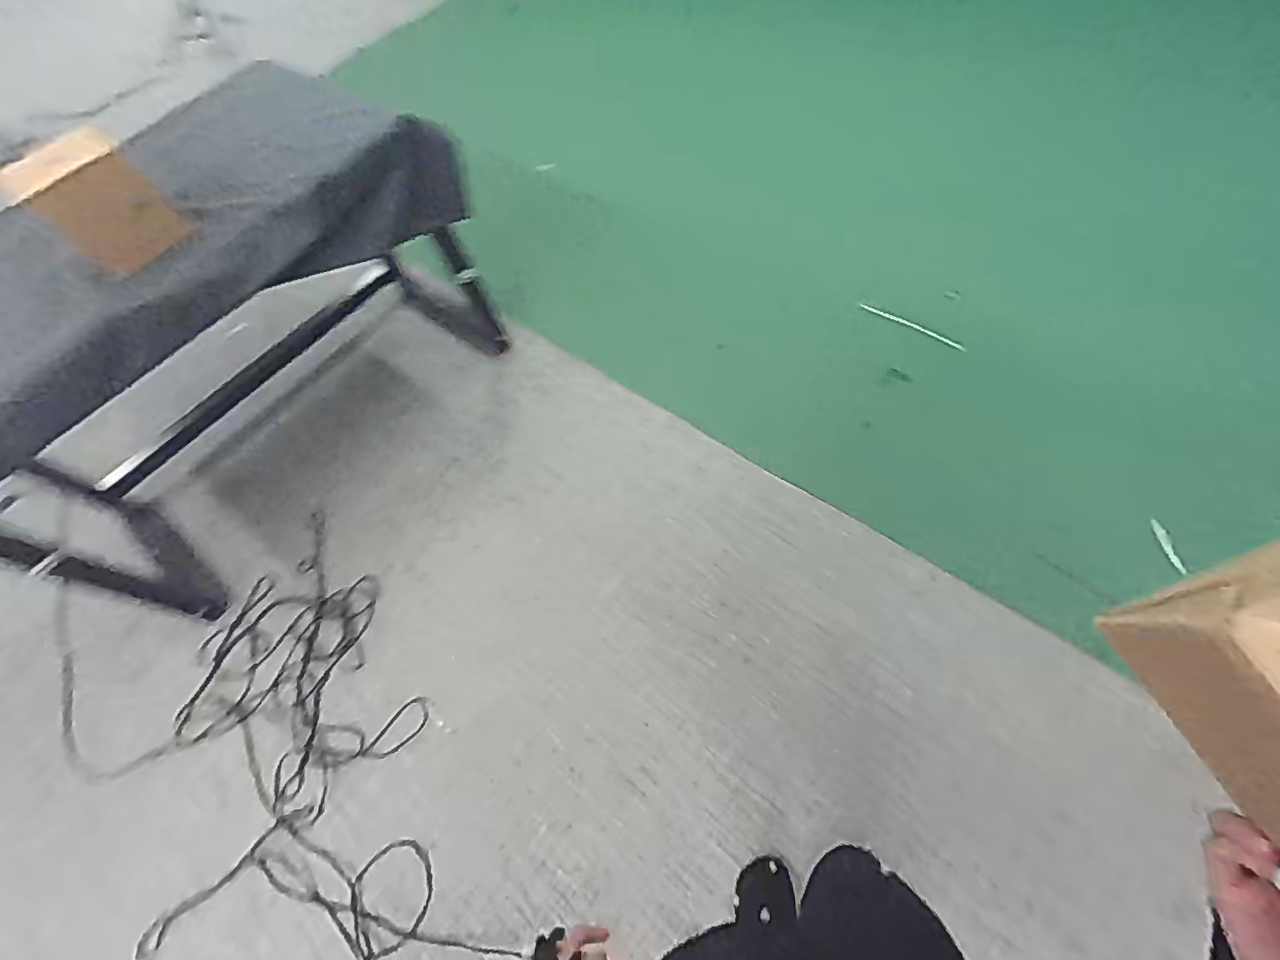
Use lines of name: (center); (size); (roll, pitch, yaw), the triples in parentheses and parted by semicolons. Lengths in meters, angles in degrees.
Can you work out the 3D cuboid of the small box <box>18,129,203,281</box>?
small box: (-0.983, -0.517, 1.024); (0.168, 0.176, 0.179); (33, 72, 25)
